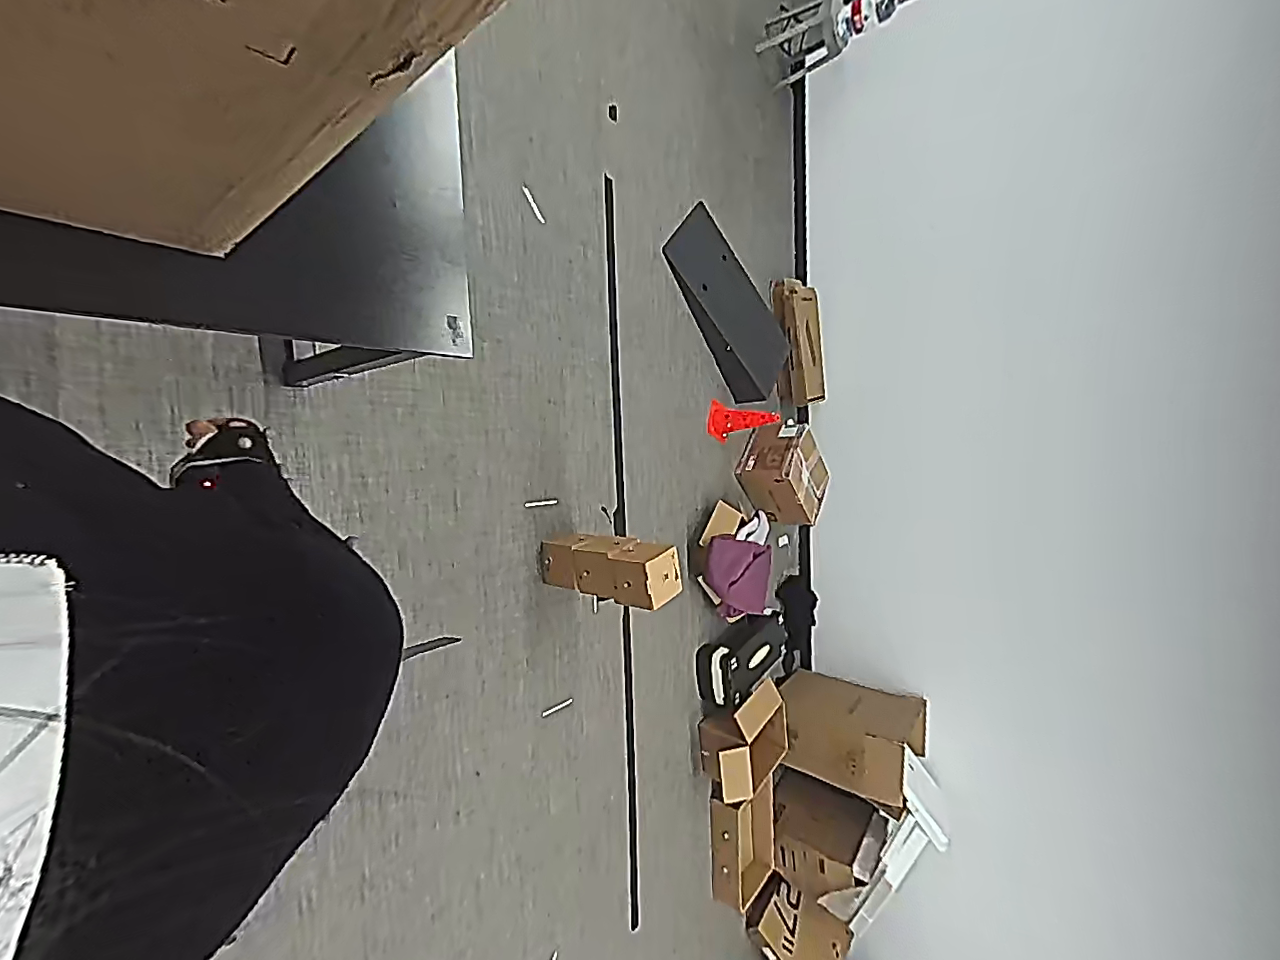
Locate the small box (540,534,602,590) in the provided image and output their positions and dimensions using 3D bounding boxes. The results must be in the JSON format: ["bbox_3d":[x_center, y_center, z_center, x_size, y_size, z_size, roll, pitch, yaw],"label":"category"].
[{"bbox_3d":[-0.252,0.302,2.027,0.179,0.176,0.168,-11,98,-49],"label":"small box"}]

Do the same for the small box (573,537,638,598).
[{"bbox_3d":[-0.115,0.306,1.934,0.179,0.176,0.168,-18,103,-49],"label":"small box"}]

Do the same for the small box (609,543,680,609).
[{"bbox_3d":[0.011,0.320,1.828,0.179,0.176,0.168,-21,106,-49],"label":"small box"}]
